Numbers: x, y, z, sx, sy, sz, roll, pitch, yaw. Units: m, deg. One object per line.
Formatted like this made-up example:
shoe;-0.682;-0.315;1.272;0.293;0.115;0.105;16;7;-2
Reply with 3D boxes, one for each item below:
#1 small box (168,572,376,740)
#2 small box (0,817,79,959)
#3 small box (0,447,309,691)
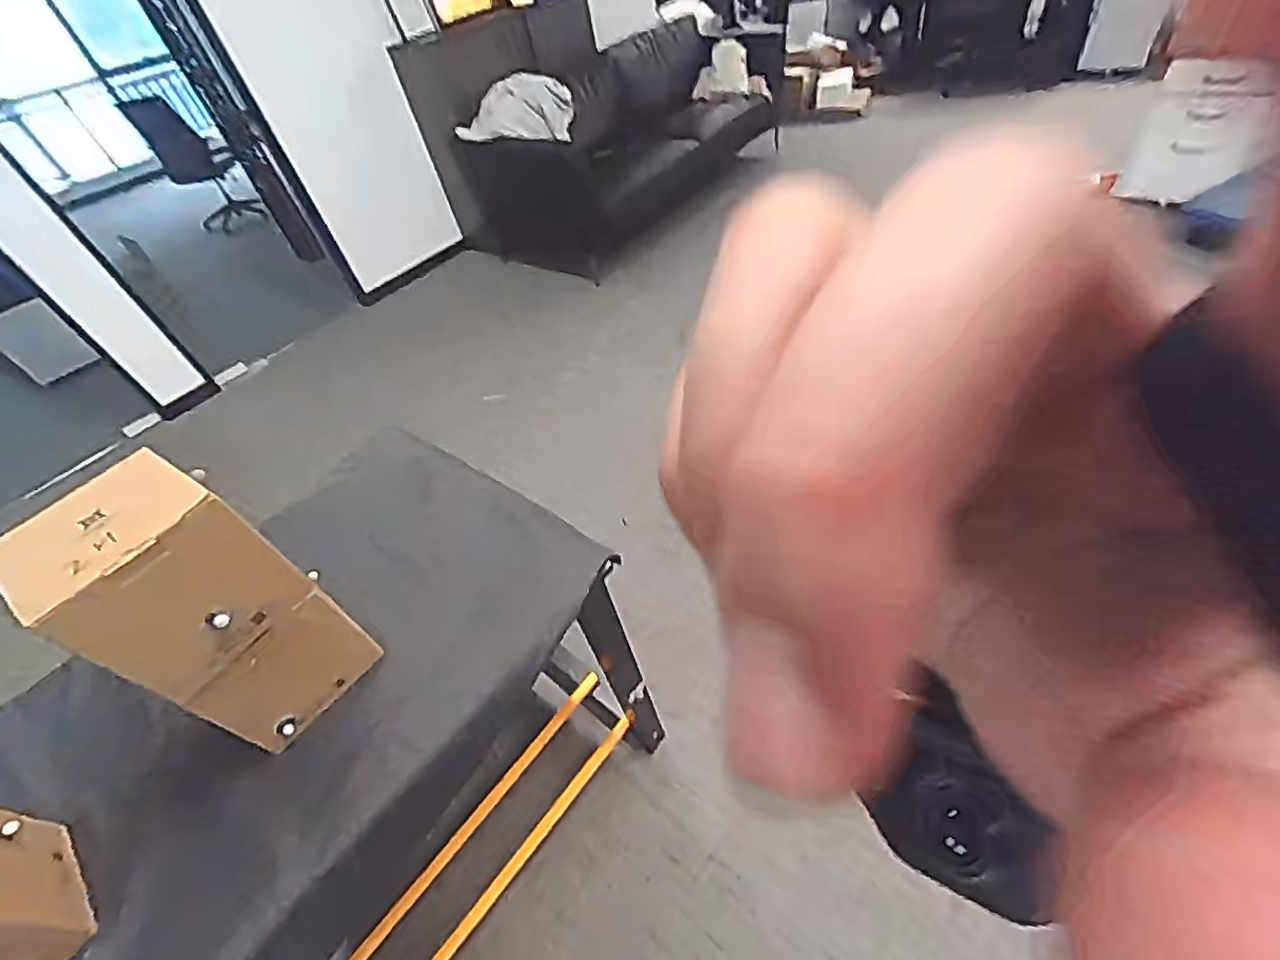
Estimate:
small box;-0.485;0.207;0.702;0.179;0.176;0.168;24;55;32
small box;-0.702;0.449;0.517;0.168;0.176;0.179;24;56;33
small box;-0.512;0.096;0.583;0.179;0.176;0.168;20;54;29
